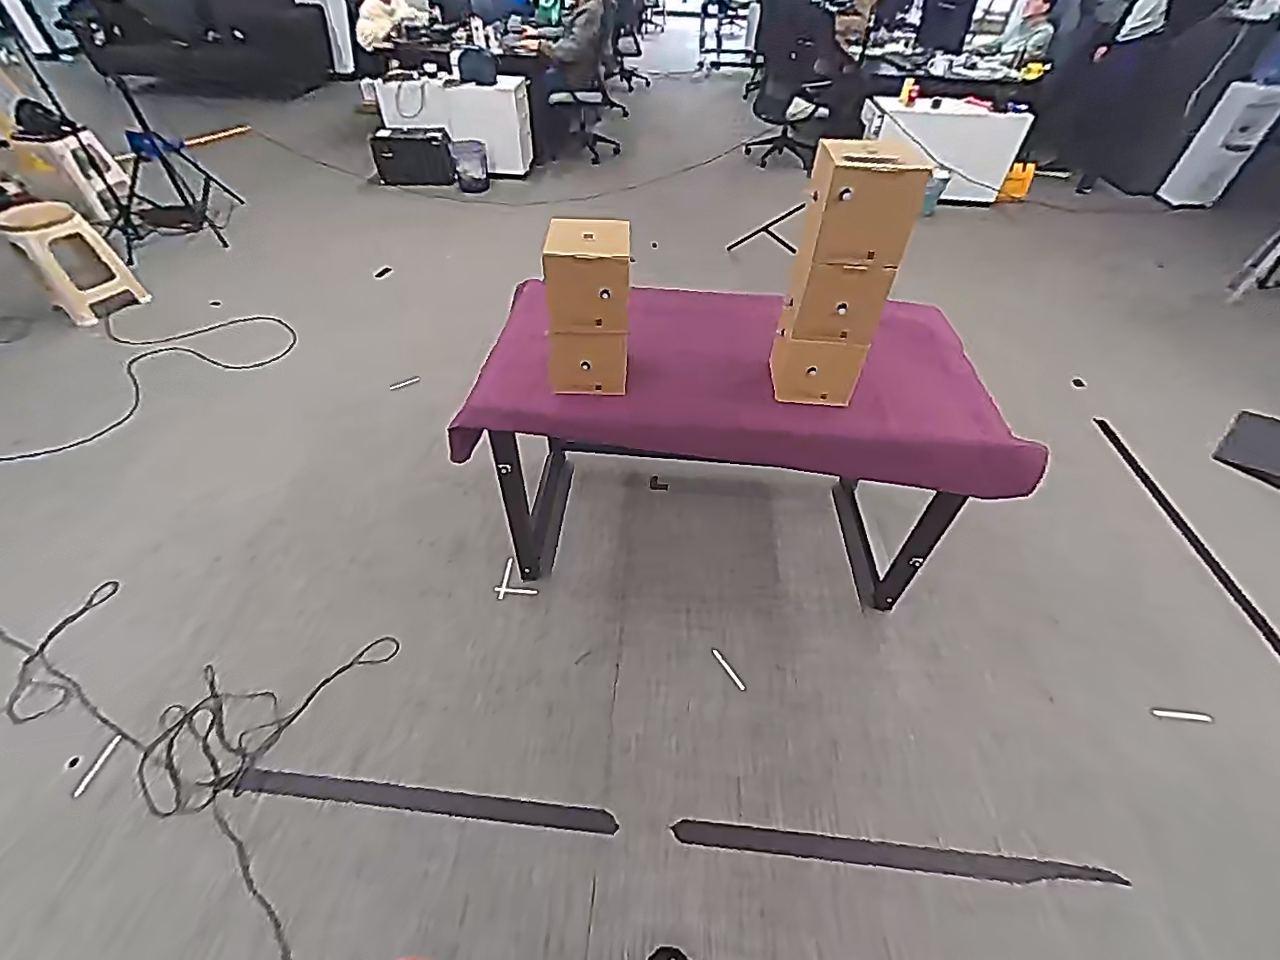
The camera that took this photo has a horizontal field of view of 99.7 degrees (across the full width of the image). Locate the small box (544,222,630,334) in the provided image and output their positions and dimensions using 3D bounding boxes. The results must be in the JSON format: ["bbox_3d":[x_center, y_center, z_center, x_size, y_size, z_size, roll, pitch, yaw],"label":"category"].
[{"bbox_3d":[-0.103,-0.419,1.130,0.168,0.176,0.179,1,45,-3],"label":"small box"}]

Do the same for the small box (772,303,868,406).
[{"bbox_3d":[0.408,-0.288,1.255,0.168,0.176,0.179,4,46,2],"label":"small box"}]

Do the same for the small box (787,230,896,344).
[{"bbox_3d":[0.413,-0.405,1.140,0.168,0.176,0.179,5,46,3],"label":"small box"}]

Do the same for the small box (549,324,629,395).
[{"bbox_3d":[-0.111,-0.312,1.252,0.168,0.176,0.179,2,45,-1],"label":"small box"}]
